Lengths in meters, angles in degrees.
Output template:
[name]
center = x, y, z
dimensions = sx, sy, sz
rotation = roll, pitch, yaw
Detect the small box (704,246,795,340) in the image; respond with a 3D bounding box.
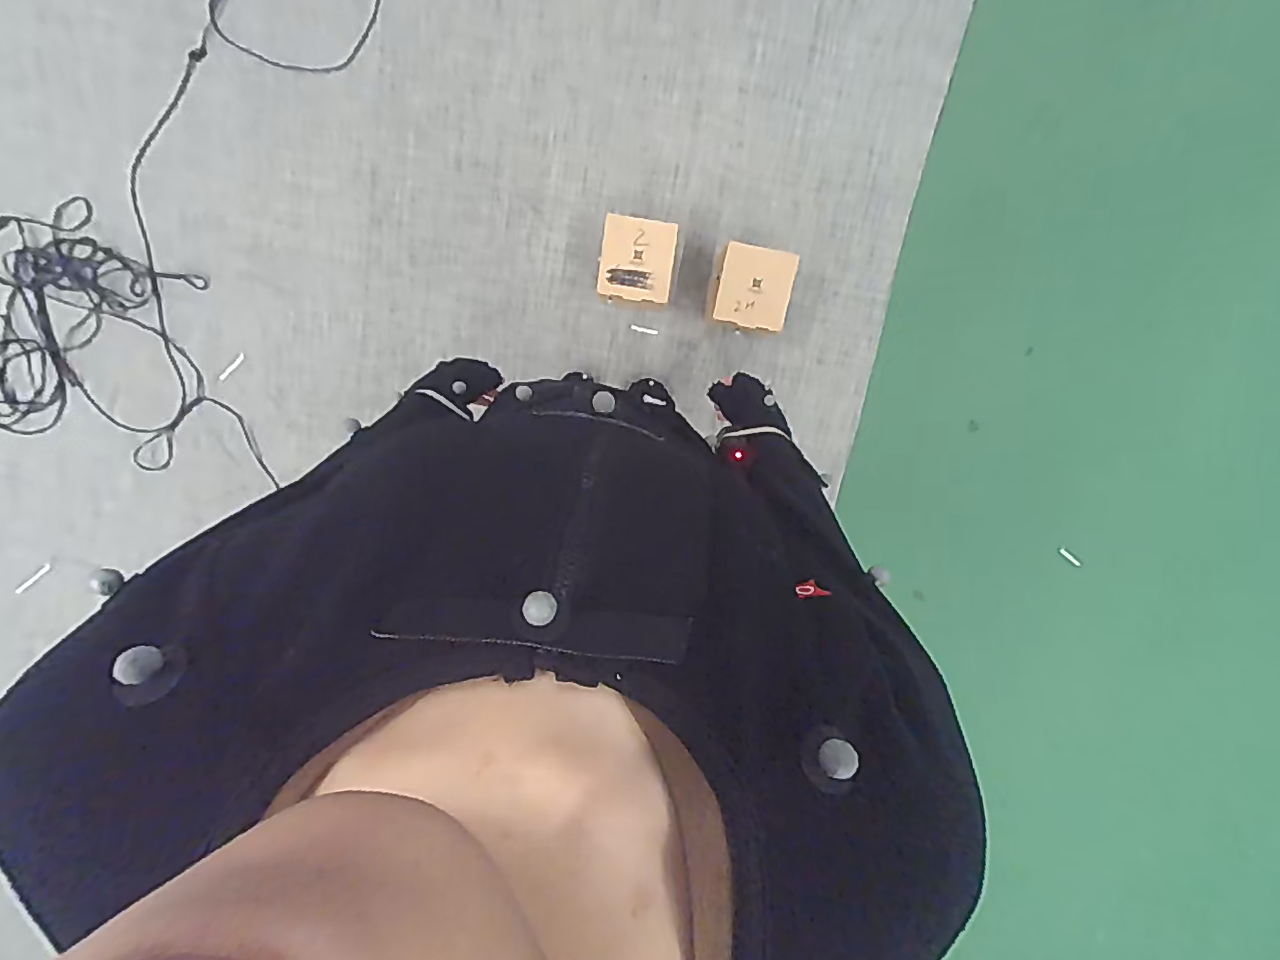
[small box]
center = 0.260, -0.449, 1.325
dimensions = 0.168, 0.176, 0.179
rotation = 11, 101, -2
